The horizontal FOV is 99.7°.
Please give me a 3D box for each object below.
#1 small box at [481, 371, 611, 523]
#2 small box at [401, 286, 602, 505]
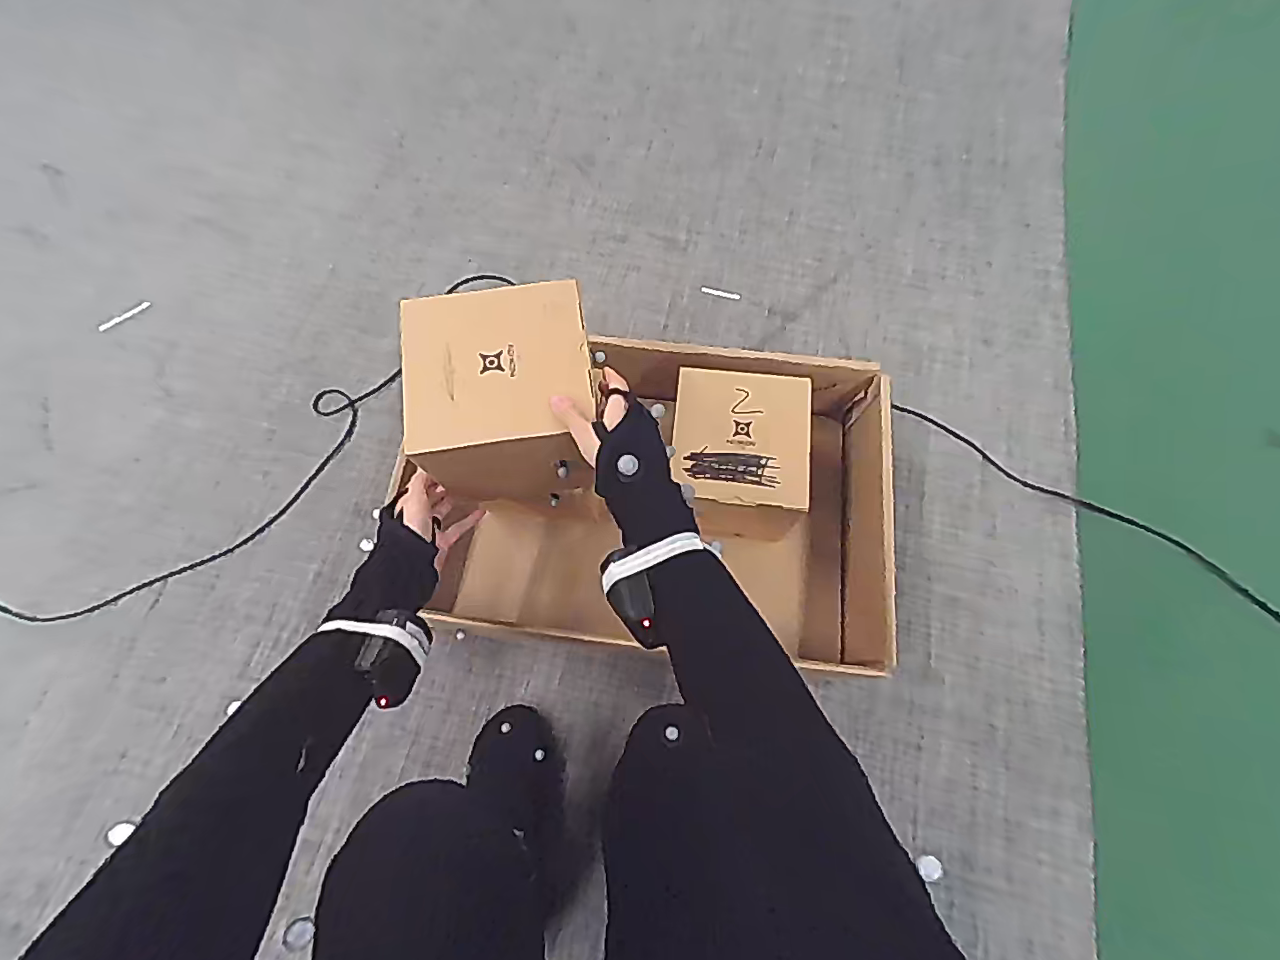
[{"bbox_3d":[-0.139,-0.046,0.742,0.179,0.176,0.168,8,71,2],"label":"small box"},{"bbox_3d":[-0.136,-0.080,0.583,0.179,0.176,0.168,-8,71,-1],"label":"small box"}]
